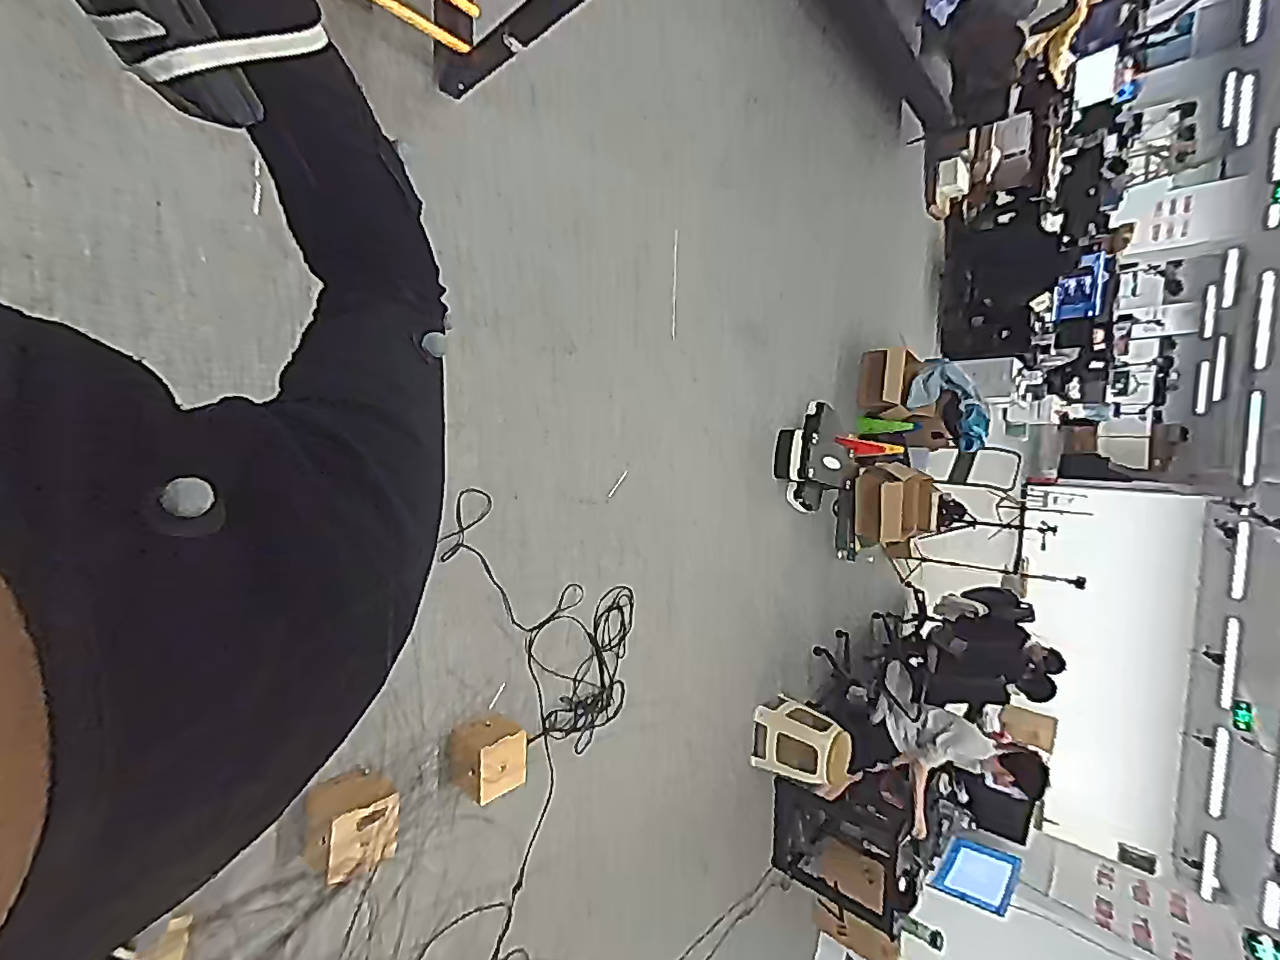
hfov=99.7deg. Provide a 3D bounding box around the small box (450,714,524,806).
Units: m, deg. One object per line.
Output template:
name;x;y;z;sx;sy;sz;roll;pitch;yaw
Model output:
small box;-0.482;0.870;1.699;0.168;0.176;0.179;-3;96;-48

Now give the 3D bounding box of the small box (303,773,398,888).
small box;-0.751;0.889;1.399;0.168;0.176;0.179;4;91;-49
